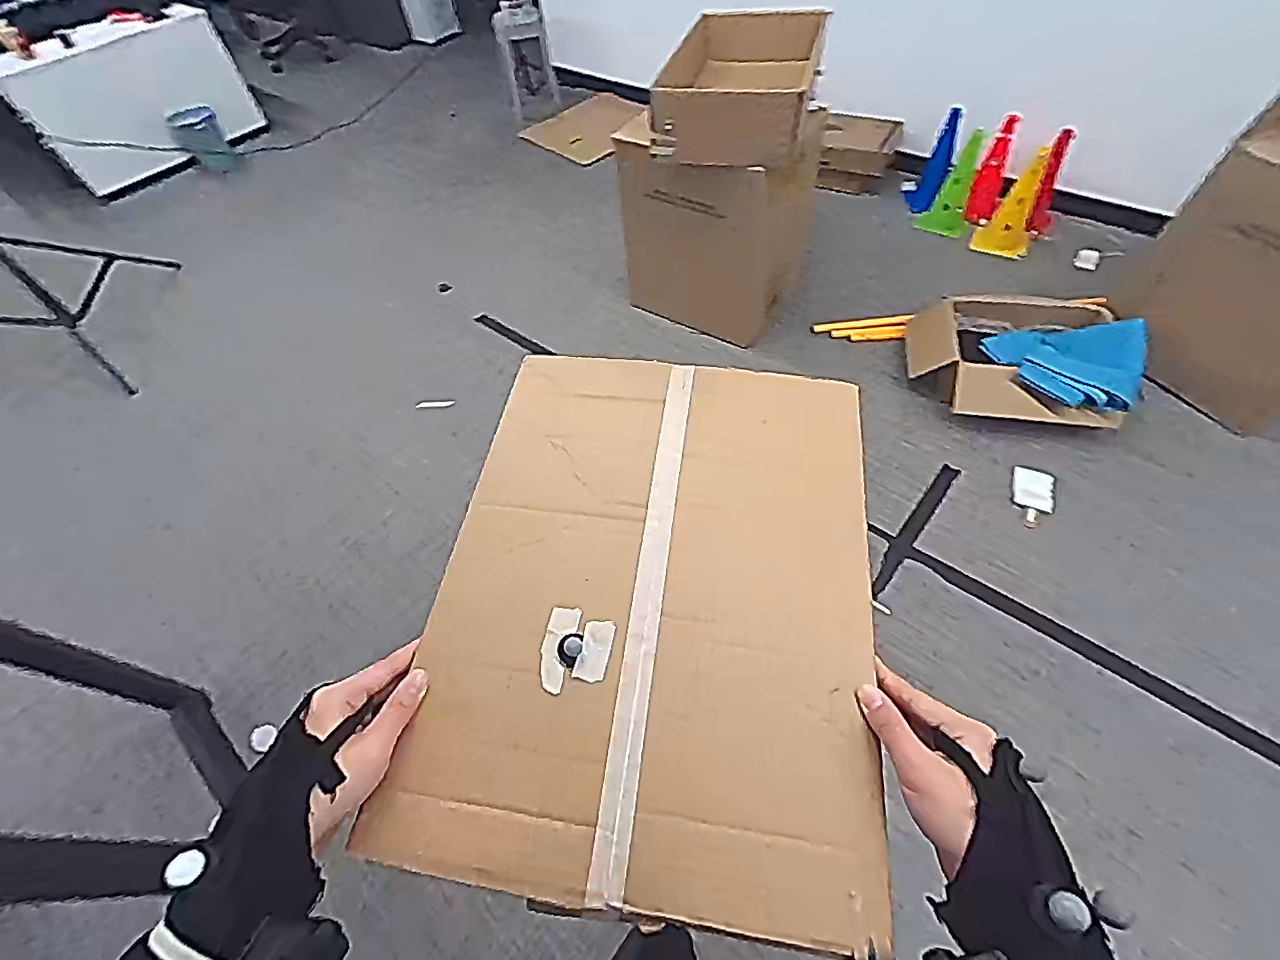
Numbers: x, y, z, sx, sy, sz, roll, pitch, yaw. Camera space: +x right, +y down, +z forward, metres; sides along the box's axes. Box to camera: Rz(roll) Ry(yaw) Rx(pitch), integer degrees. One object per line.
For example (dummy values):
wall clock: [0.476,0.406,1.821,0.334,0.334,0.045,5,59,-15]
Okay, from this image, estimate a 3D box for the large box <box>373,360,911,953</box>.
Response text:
large box: [0.021,0.144,0.527,0.320,0.320,0.408,5,59,6]
